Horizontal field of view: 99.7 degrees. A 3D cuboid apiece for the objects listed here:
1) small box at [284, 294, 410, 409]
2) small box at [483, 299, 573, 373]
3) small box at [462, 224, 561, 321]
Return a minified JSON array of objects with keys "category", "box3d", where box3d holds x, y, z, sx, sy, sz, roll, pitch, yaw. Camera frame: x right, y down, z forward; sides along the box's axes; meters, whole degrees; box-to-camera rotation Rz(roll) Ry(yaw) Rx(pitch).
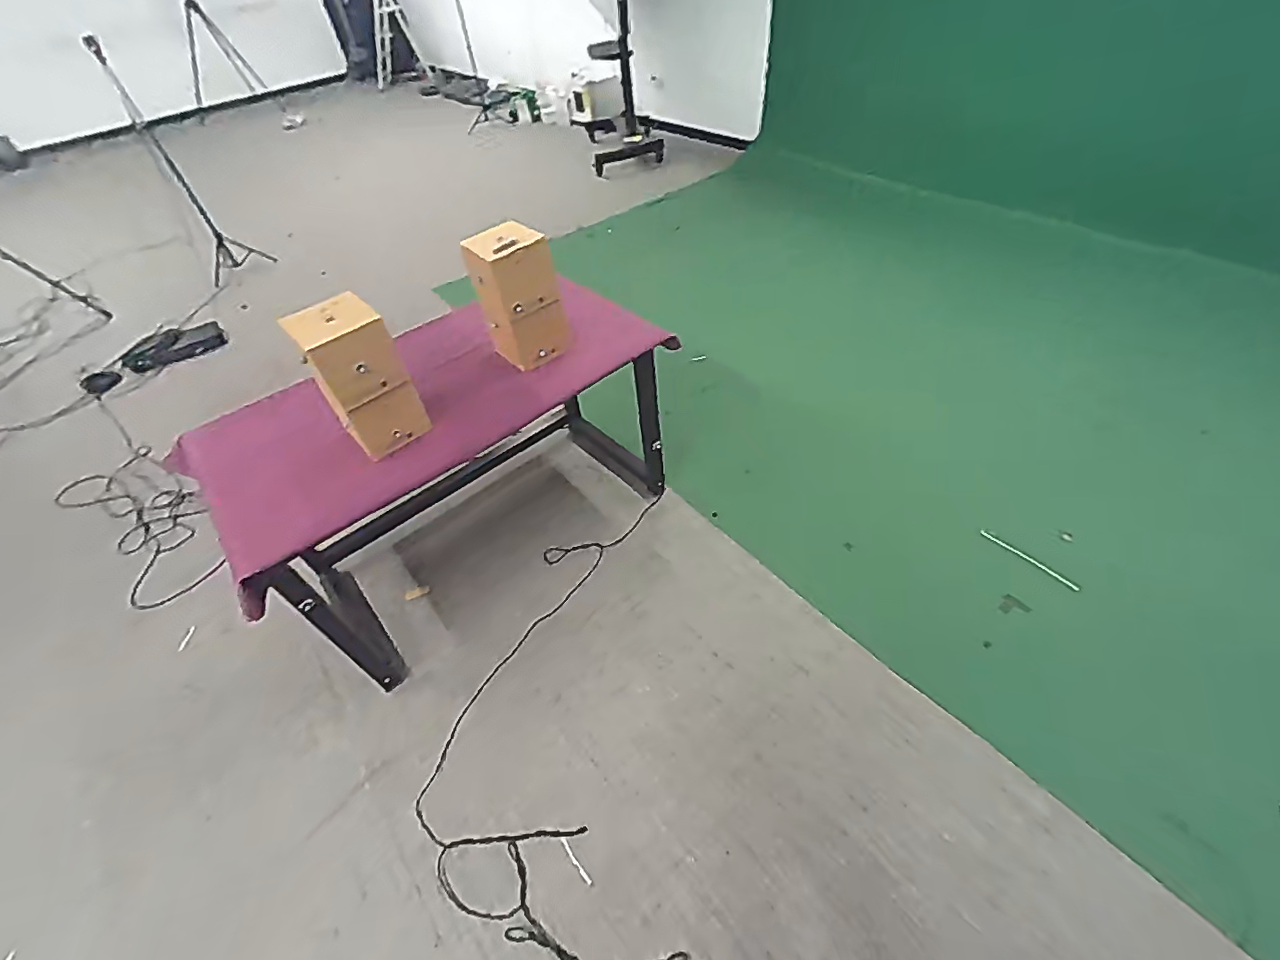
[{"category":"small box","box3d":[-0.653,-0.285,1.221,0.168,0.176,0.179,-36,54,-25]},{"category":"small box","box3d":[-0.314,-0.432,1.540,0.168,0.176,0.179,-34,52,-21]},{"category":"small box","box3d":[-0.330,-0.540,1.418,0.168,0.176,0.179,-35,51,-21]}]
